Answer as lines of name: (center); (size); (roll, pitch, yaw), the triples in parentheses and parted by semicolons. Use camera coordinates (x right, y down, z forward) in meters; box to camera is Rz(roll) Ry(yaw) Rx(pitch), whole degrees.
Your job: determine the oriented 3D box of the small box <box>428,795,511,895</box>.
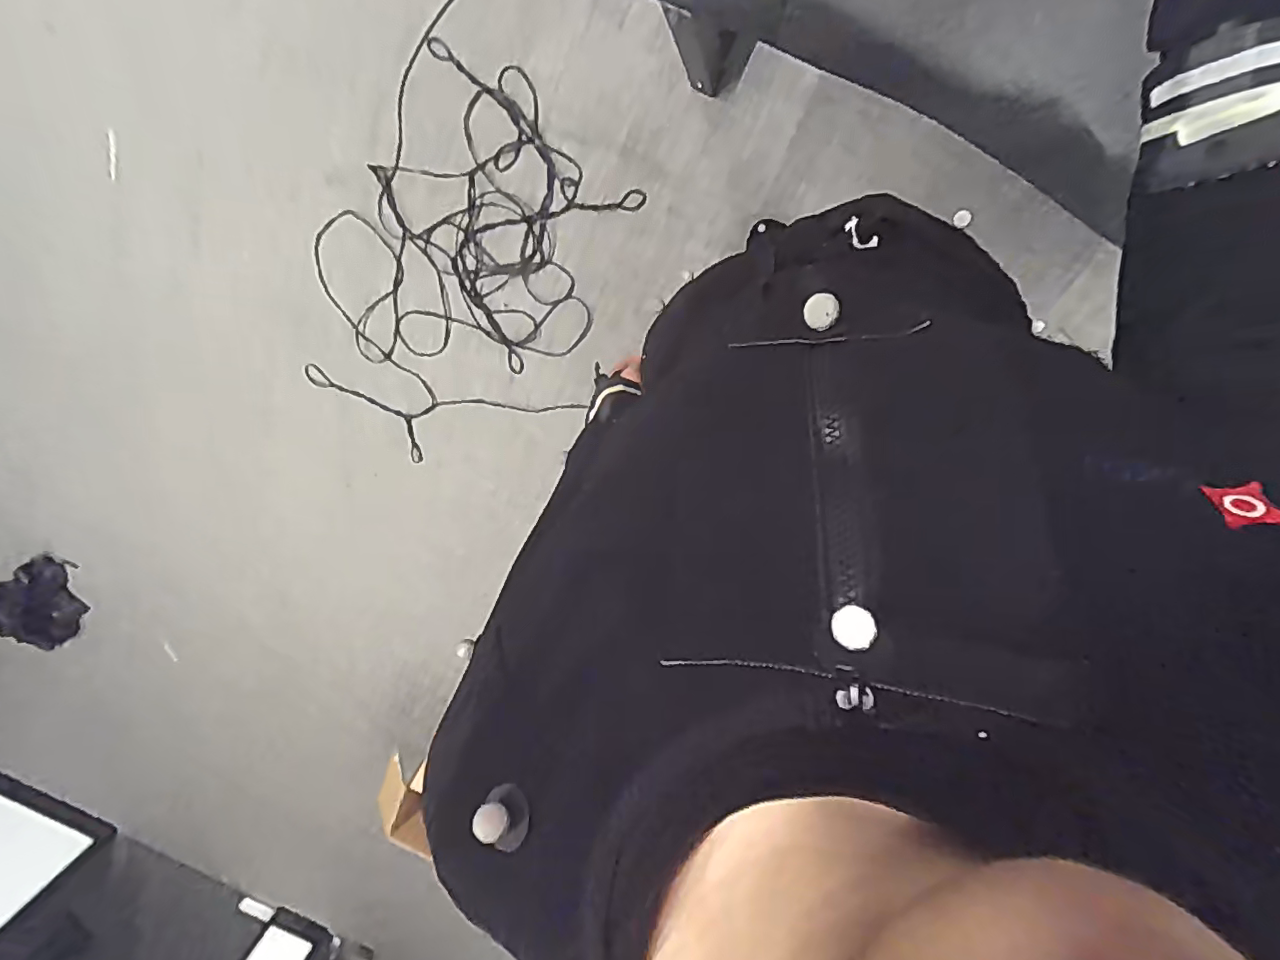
small box: (-0.537, 1.159, 1.725); (0.168, 0.176, 0.179); (30, 112, -1)
